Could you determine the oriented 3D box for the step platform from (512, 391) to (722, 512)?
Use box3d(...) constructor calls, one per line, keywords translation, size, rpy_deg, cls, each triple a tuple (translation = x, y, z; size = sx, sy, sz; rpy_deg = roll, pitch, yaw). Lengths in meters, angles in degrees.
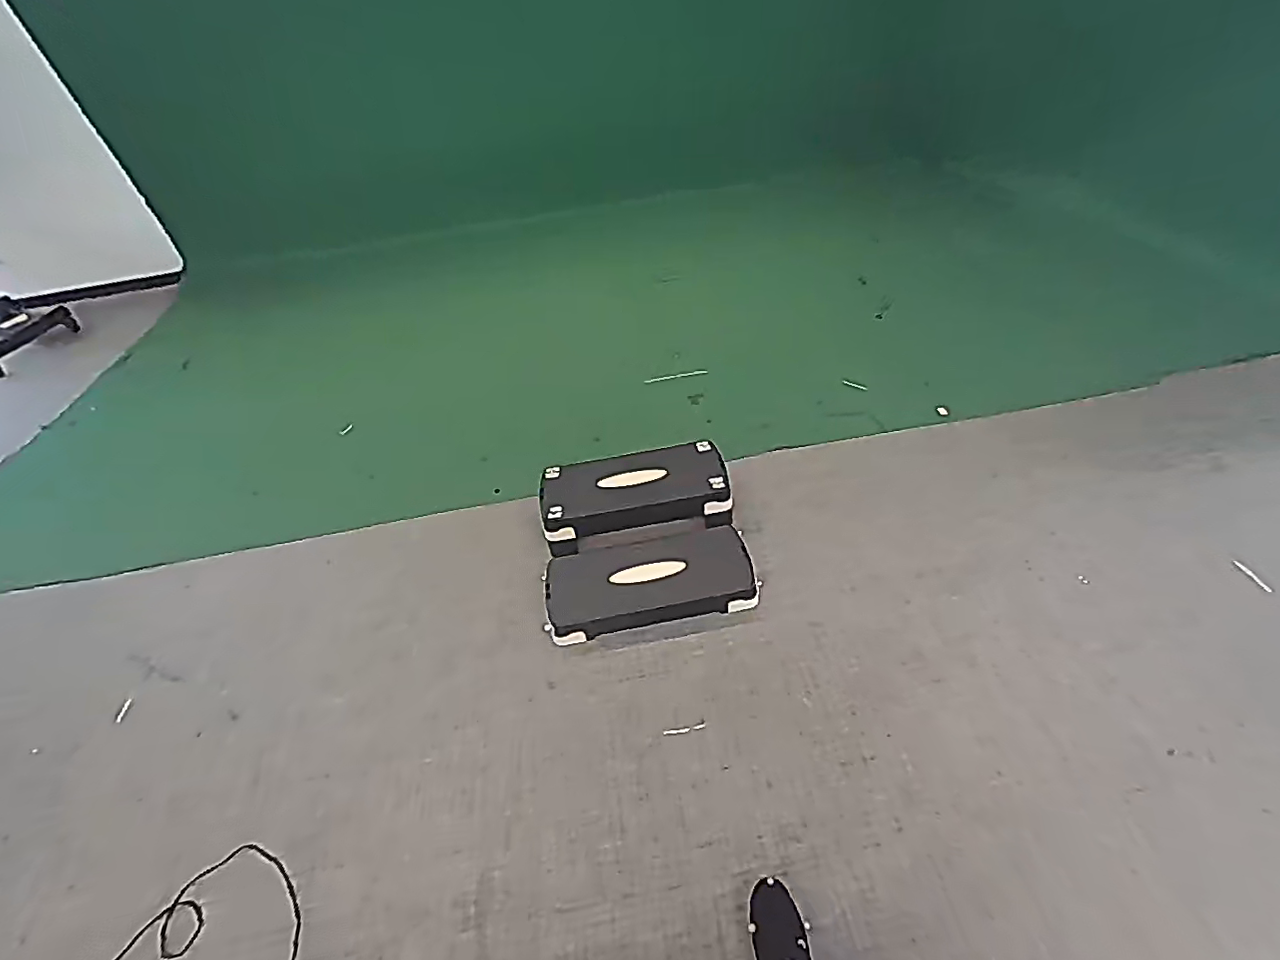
box3d(translation=(-0.072, -0.098, 1.836), size=(0.684, 0.204, 0.286), rpy_deg=(-11, 45, -2), cls="step platform")
